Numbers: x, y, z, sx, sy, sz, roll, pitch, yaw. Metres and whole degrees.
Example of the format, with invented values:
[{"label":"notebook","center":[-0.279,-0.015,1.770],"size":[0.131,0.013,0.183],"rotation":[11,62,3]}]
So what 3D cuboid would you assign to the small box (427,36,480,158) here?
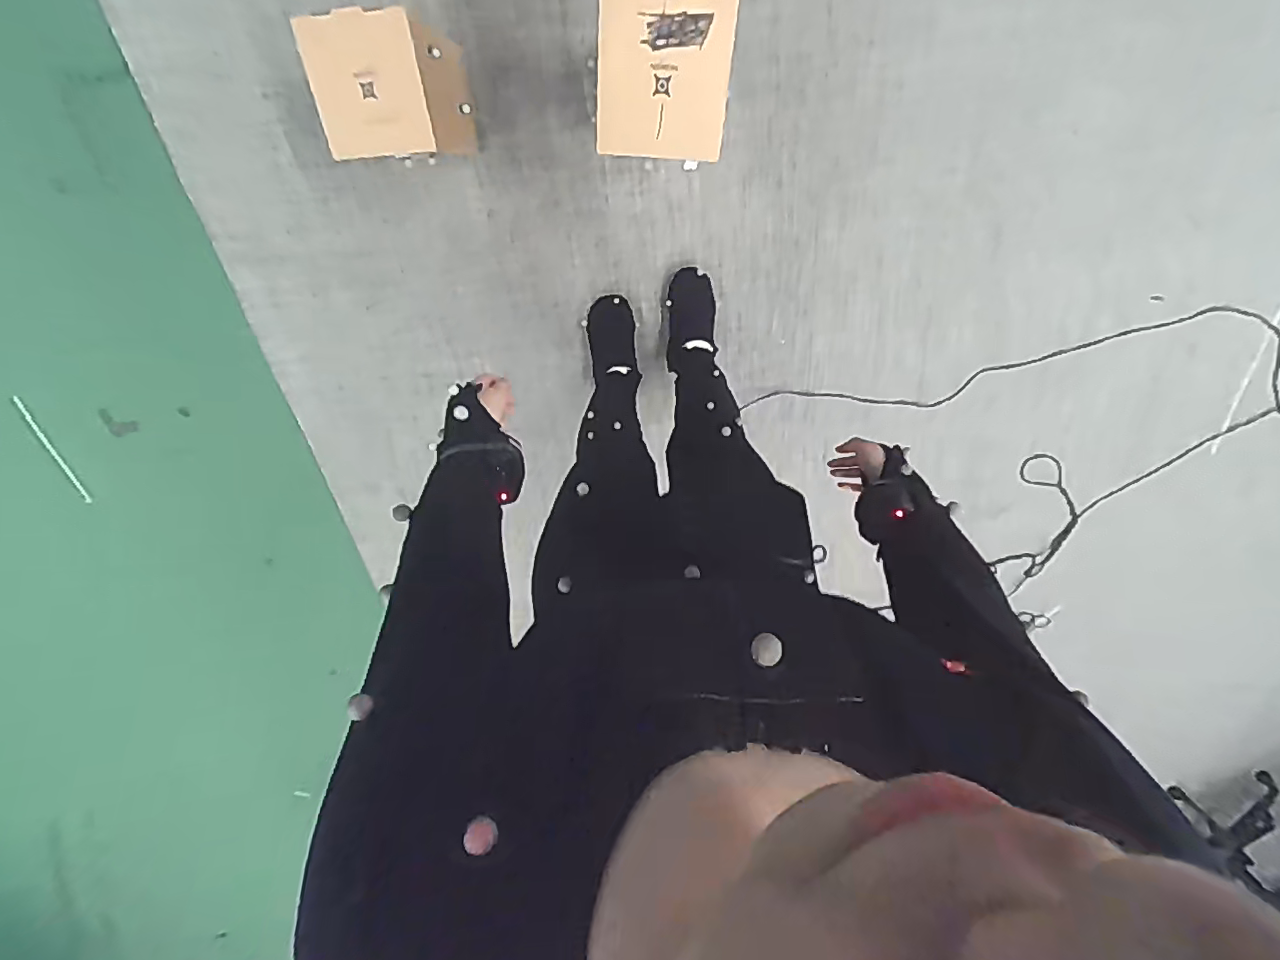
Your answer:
[{"label":"small box","center":[-0.407,-0.706,1.008],"size":[0.168,0.176,0.179],"rotation":[-2,122,-1]}]

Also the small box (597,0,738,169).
[{"label":"small box","center":[0.026,-0.539,0.745],"size":[0.168,0.176,0.179],"rotation":[2,123,-4]}]

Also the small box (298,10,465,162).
[{"label":"small box","center":[-0.399,-0.620,0.870],"size":[0.168,0.176,0.179],"rotation":[-4,122,2]}]
